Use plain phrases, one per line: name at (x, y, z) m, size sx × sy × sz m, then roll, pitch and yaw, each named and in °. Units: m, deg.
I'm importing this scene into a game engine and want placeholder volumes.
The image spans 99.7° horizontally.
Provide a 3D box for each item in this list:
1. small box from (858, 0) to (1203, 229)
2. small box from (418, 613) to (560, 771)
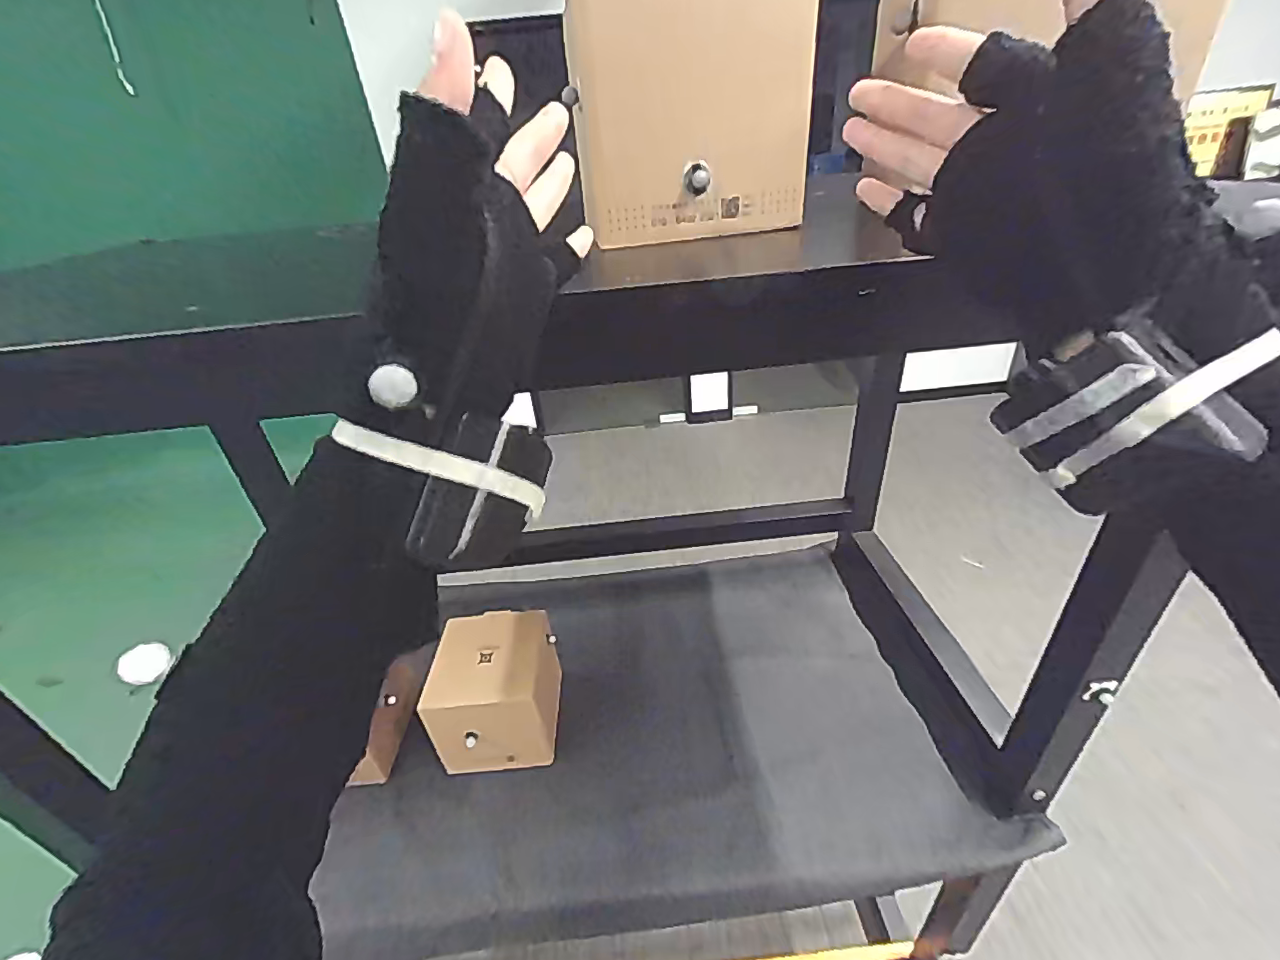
small box at (0.280, -0.298, 0.424) m, size 0.168 × 0.176 × 0.179 m, roll 0°, pitch 32°, yaw 9°
small box at (-0.227, 0.342, 0.868) m, size 0.168 × 0.176 × 0.179 m, roll -5°, pitch 31°, yaw 0°
